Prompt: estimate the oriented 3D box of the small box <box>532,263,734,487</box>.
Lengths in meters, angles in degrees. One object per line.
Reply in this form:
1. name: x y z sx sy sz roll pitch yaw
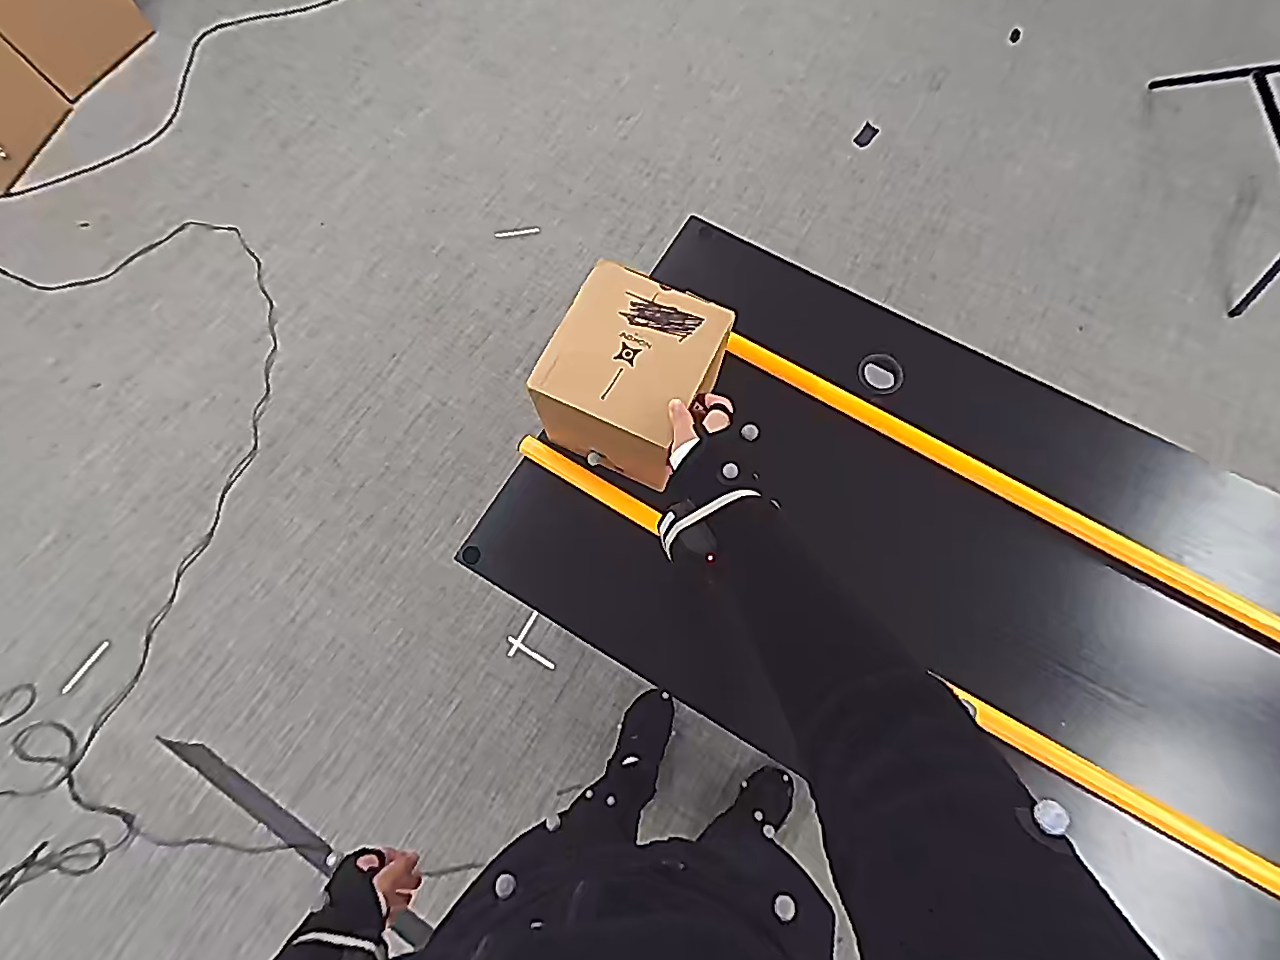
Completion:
1. small box: -0.007 -0.115 0.653 0.168 0.176 0.179 24 76 7
